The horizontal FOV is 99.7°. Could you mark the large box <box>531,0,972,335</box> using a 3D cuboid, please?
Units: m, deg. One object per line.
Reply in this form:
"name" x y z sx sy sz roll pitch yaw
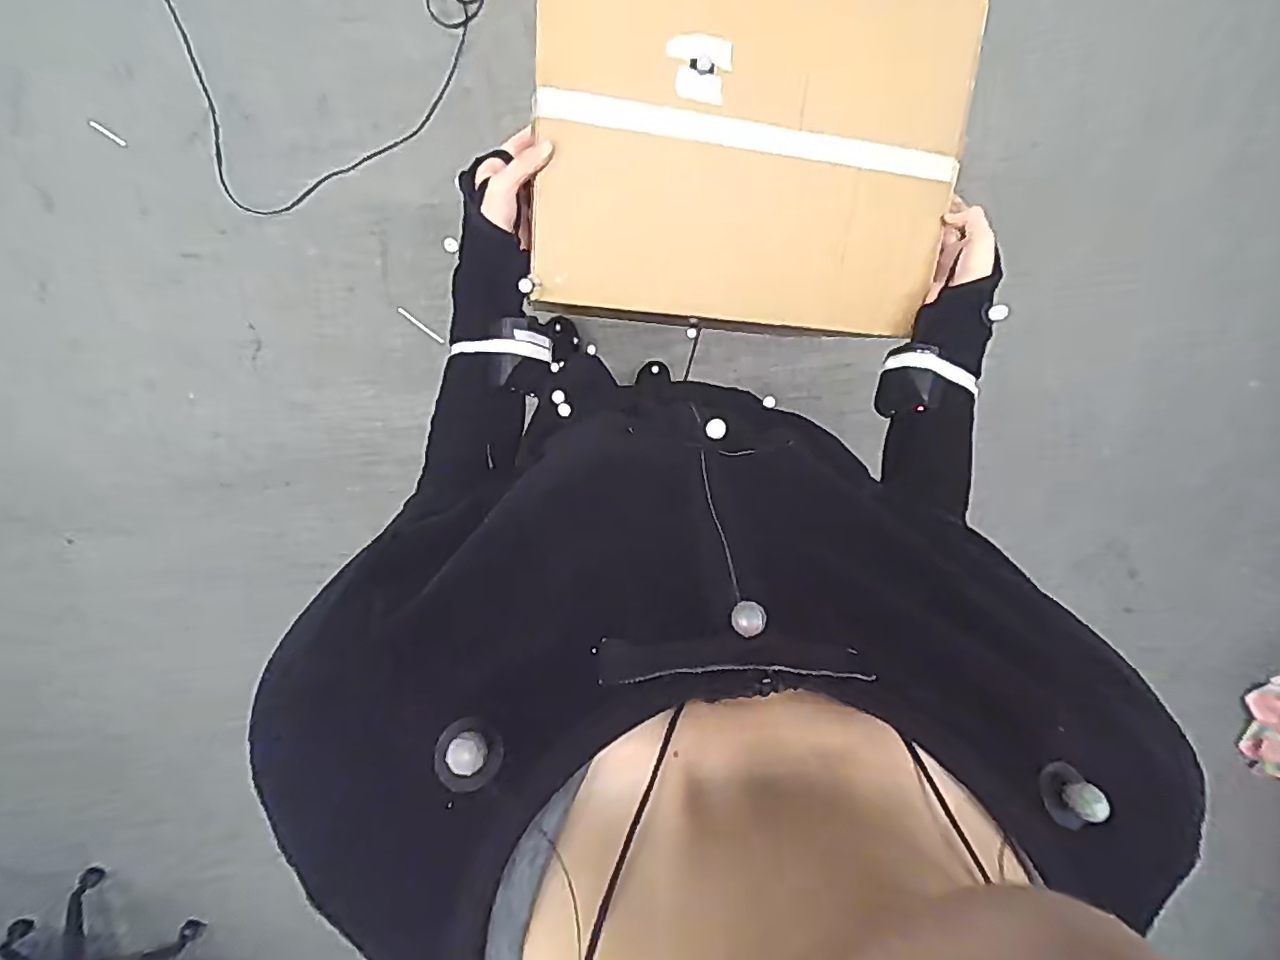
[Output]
"large box" 0.081 -0.352 0.648 0.408 0.320 0.320 3 105 -11
